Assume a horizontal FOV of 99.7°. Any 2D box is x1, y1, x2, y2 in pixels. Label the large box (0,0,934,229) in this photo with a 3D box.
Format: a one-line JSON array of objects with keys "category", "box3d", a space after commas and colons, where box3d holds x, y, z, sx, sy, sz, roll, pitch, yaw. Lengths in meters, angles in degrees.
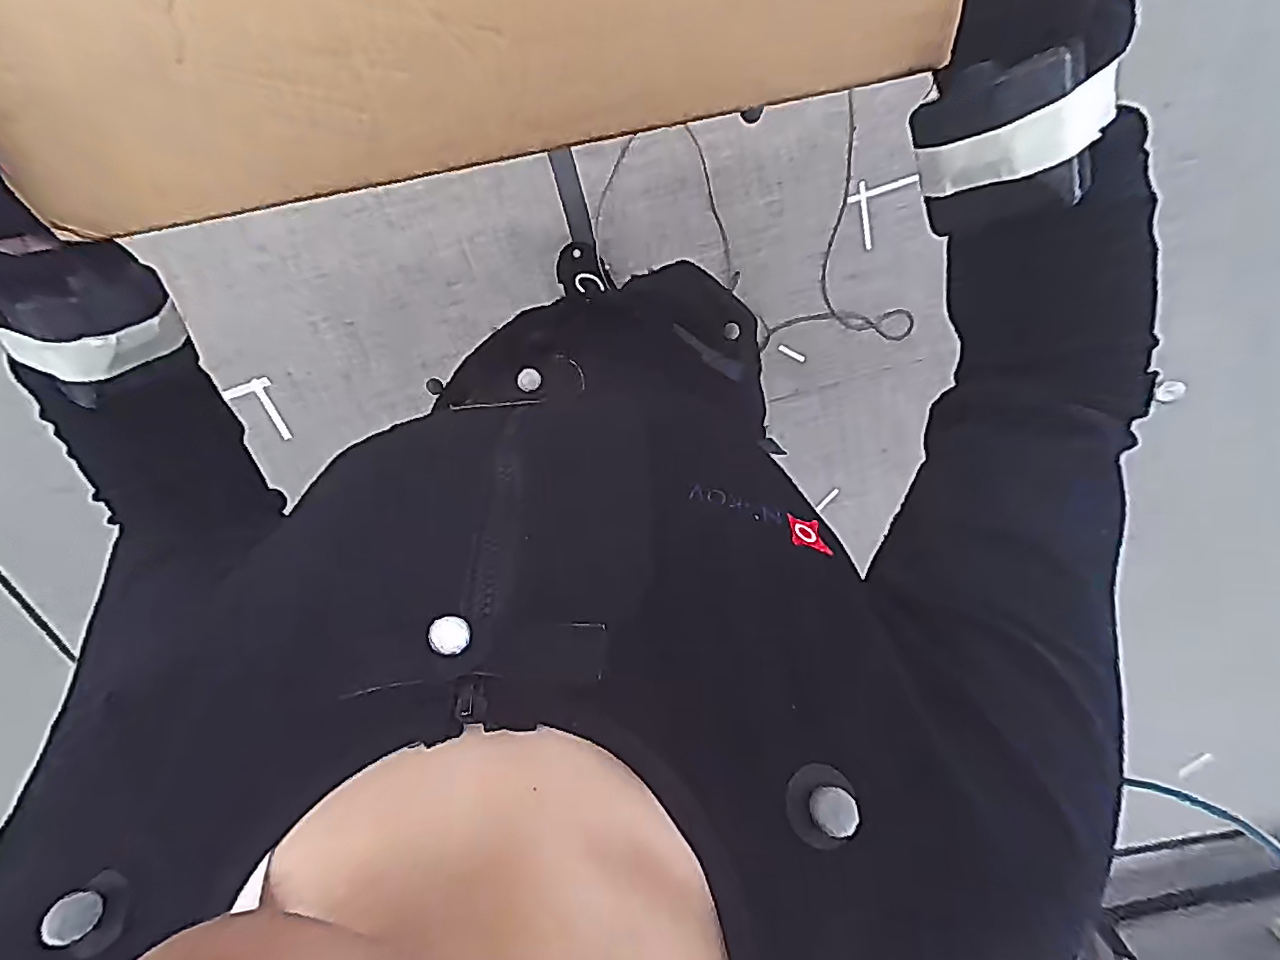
[{"category": "large box", "box3d": [-0.104, -0.364, 0.250, 0.408, 0.320, 0.320, -9, 133, 3]}]
